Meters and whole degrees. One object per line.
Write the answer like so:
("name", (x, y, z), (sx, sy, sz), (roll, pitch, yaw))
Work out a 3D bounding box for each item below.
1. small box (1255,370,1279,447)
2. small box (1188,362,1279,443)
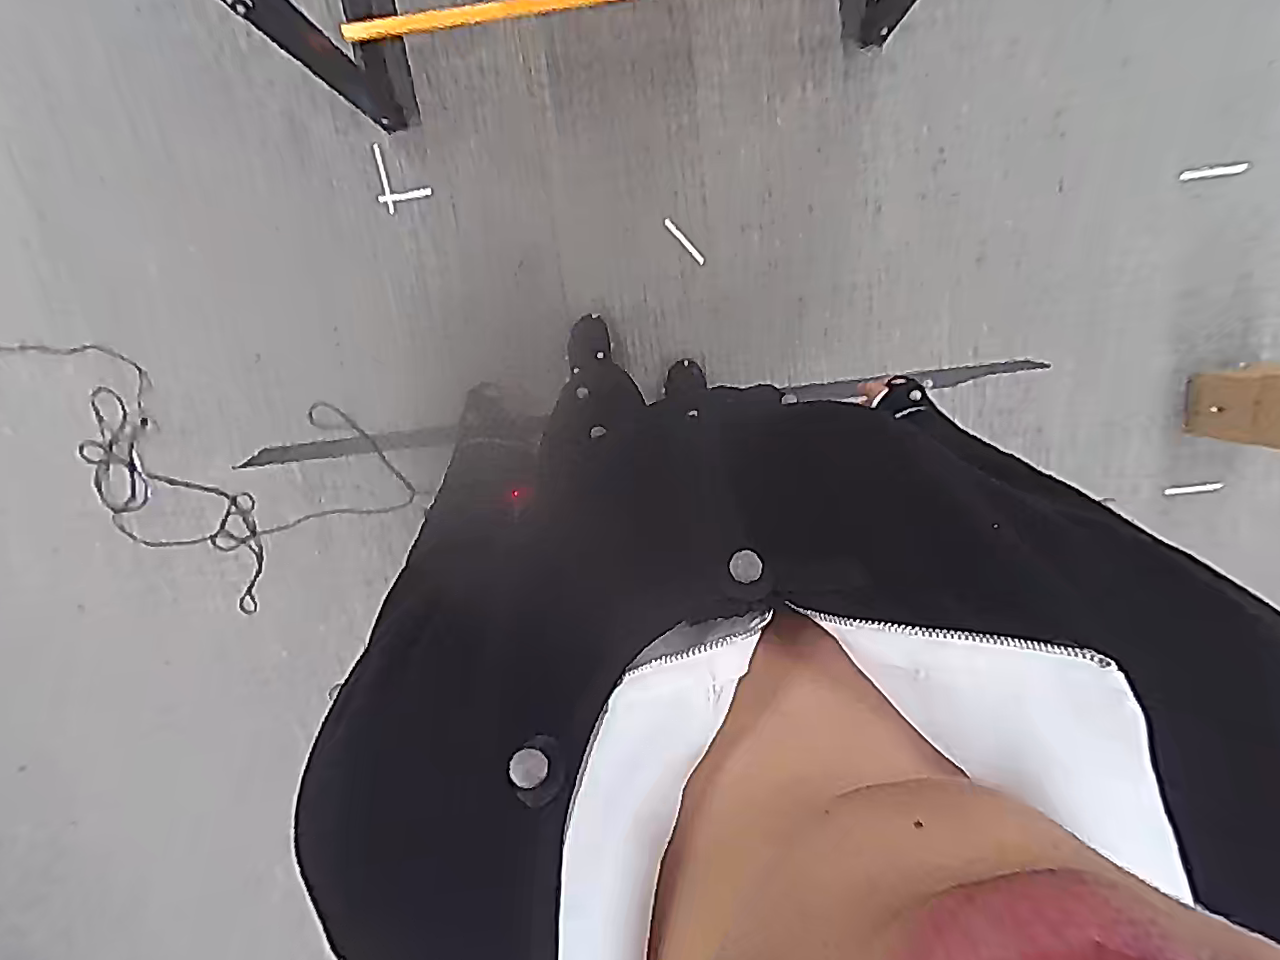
("small box", (1.525, -0.159, 1.184), (0.168, 0.176, 0.179), (-10, 105, 4))
("small box", (1.532, -0.196, 1.345), (0.179, 0.176, 0.168), (-10, 105, 4))
